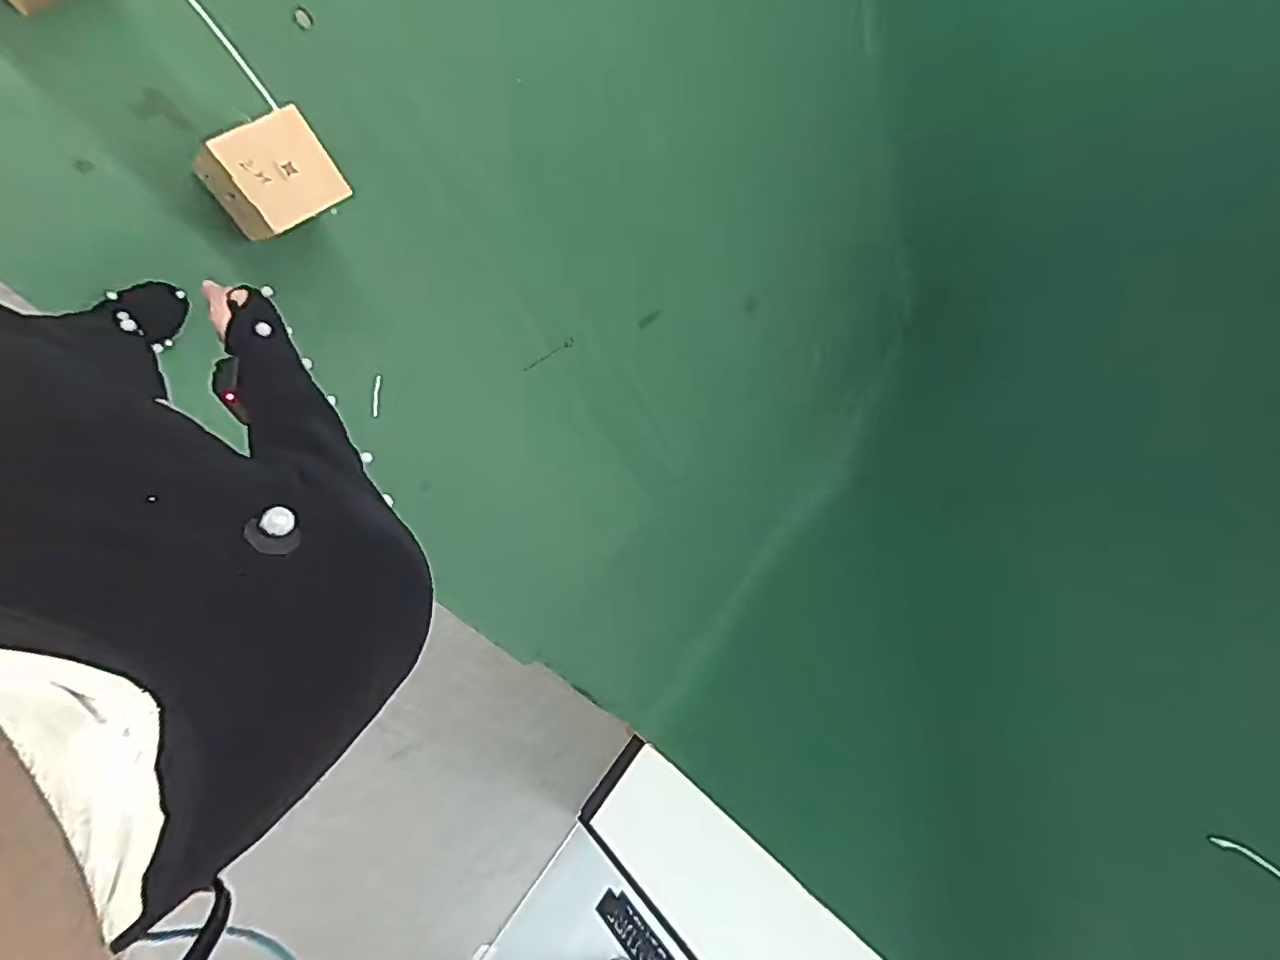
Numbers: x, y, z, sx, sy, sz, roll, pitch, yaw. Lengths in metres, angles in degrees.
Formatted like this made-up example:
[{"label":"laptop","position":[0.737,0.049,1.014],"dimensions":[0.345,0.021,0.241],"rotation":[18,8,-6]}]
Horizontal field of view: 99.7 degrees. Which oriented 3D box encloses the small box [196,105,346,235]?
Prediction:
[{"label":"small box","position":[-0.732,-0.606,1.070],"dimensions":[0.179,0.176,0.168],"rotation":[-44,131,-21]}]
